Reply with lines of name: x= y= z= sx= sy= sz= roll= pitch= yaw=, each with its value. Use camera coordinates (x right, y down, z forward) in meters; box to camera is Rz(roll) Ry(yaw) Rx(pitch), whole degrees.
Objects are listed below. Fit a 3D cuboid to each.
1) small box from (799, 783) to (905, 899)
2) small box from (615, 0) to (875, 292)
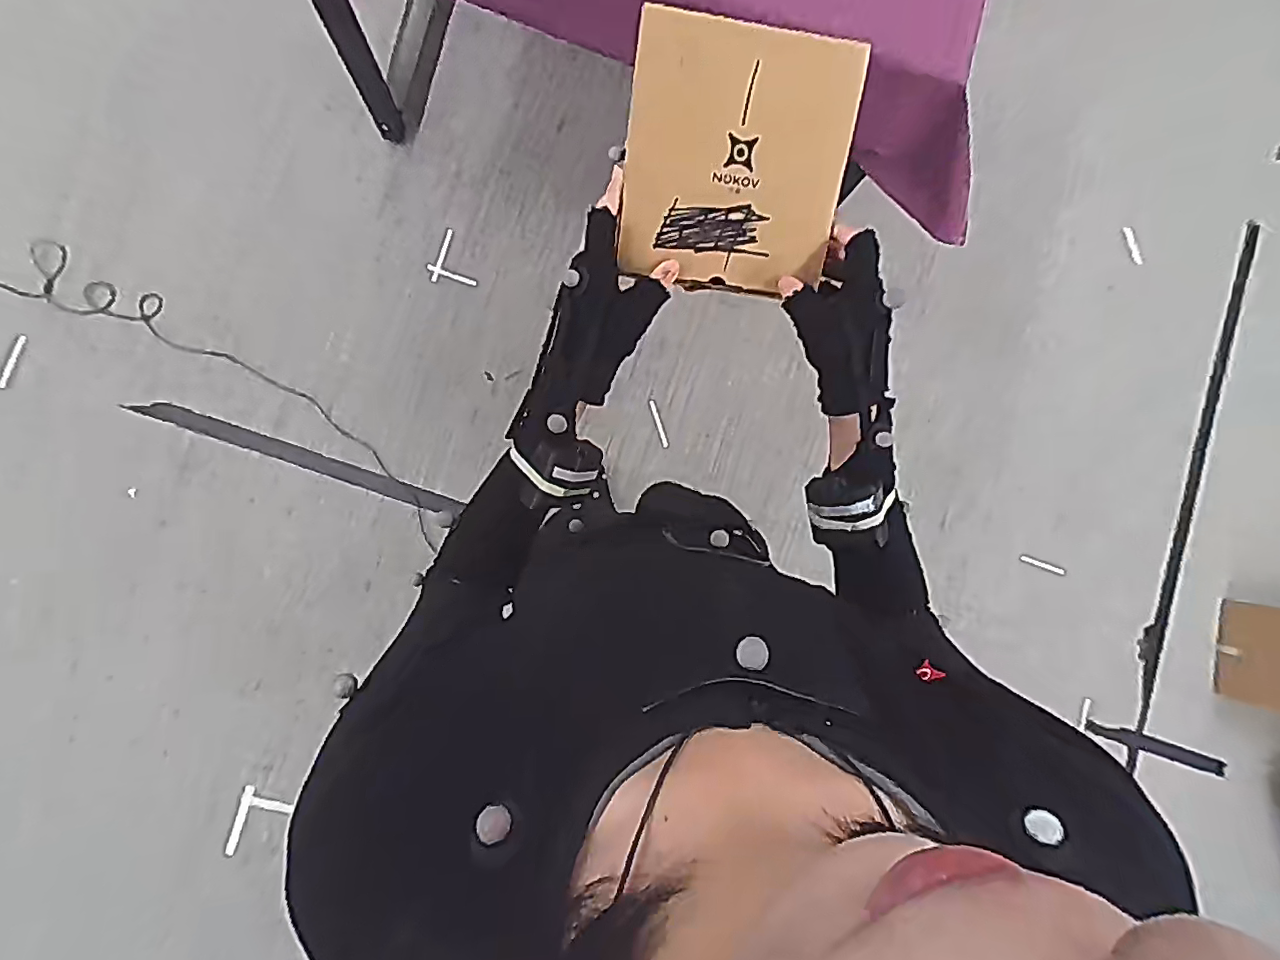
small box: x=0.571 y=0.973 z=1.477 sx=0.179 sy=0.176 sz=0.168 roll=34 pitch=83 yaw=-4
small box: x=0.070 y=-0.270 z=0.477 sx=0.168 sy=0.176 sz=0.179 roll=7 pitch=109 yaw=-6
